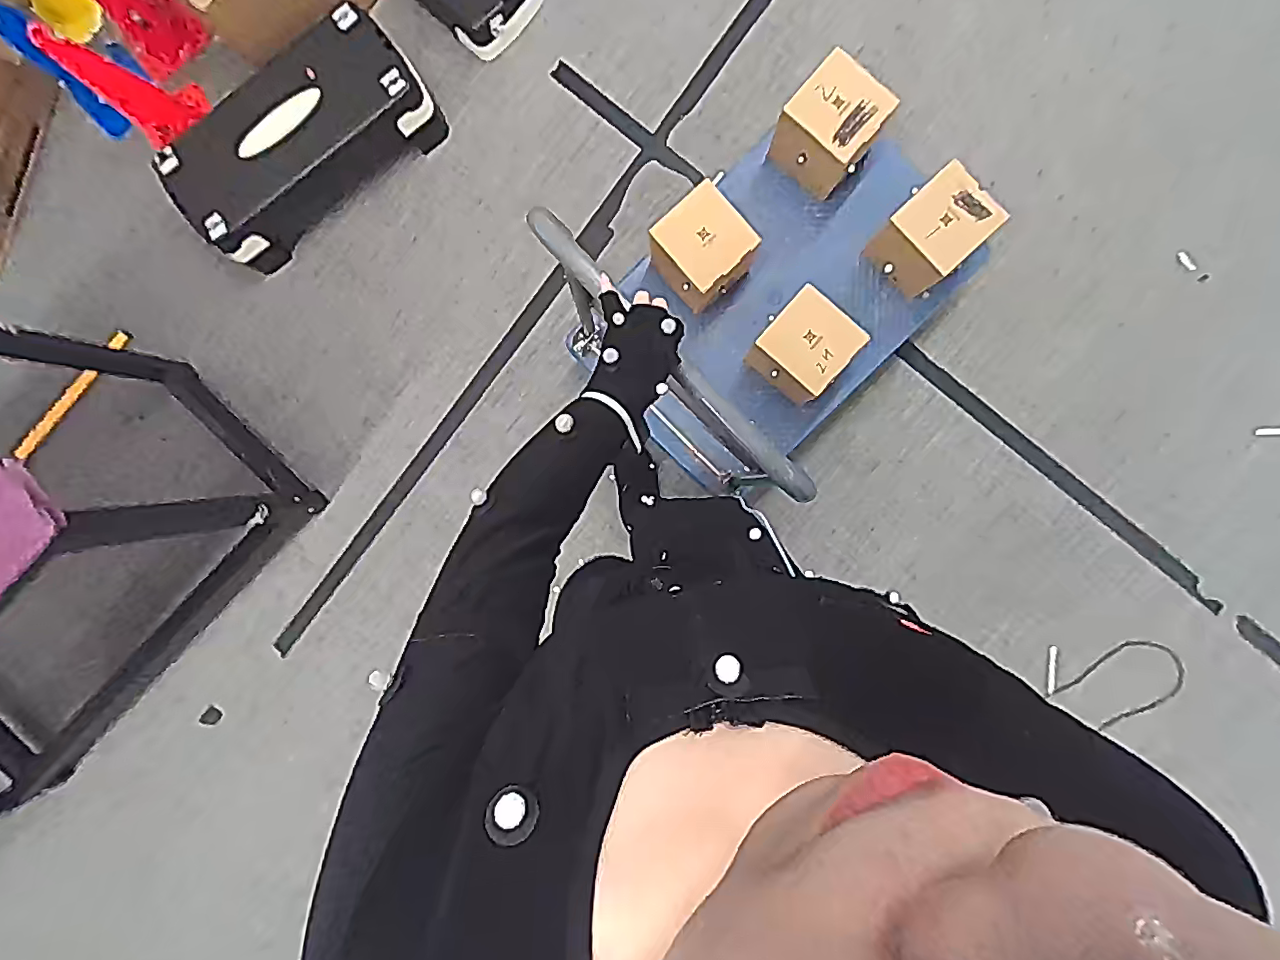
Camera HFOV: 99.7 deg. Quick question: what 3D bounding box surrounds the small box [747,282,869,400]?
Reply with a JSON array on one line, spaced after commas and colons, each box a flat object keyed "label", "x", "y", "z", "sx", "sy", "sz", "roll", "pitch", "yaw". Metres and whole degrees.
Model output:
[{"label": "small box", "x": 0.359, "y": -0.295, "z": 1.194, "sx": 0.179, "sy": 0.176, "sz": 0.168, "roll": 42, "pitch": 93, "yaw": 1}]

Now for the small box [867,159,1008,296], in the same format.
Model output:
[{"label": "small box", "x": 0.632, "y": -0.536, "z": 1.173, "sx": 0.179, "sy": 0.176, "sz": 0.168, "roll": -43, "pitch": 90, "yaw": 5}]

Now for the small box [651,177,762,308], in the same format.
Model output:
[{"label": "small box", "x": 0.139, "y": -0.512, "z": 1.197, "sx": 0.168, "sy": 0.176, "sz": 0.179, "roll": -41, "pitch": 91, "yaw": 3}]
